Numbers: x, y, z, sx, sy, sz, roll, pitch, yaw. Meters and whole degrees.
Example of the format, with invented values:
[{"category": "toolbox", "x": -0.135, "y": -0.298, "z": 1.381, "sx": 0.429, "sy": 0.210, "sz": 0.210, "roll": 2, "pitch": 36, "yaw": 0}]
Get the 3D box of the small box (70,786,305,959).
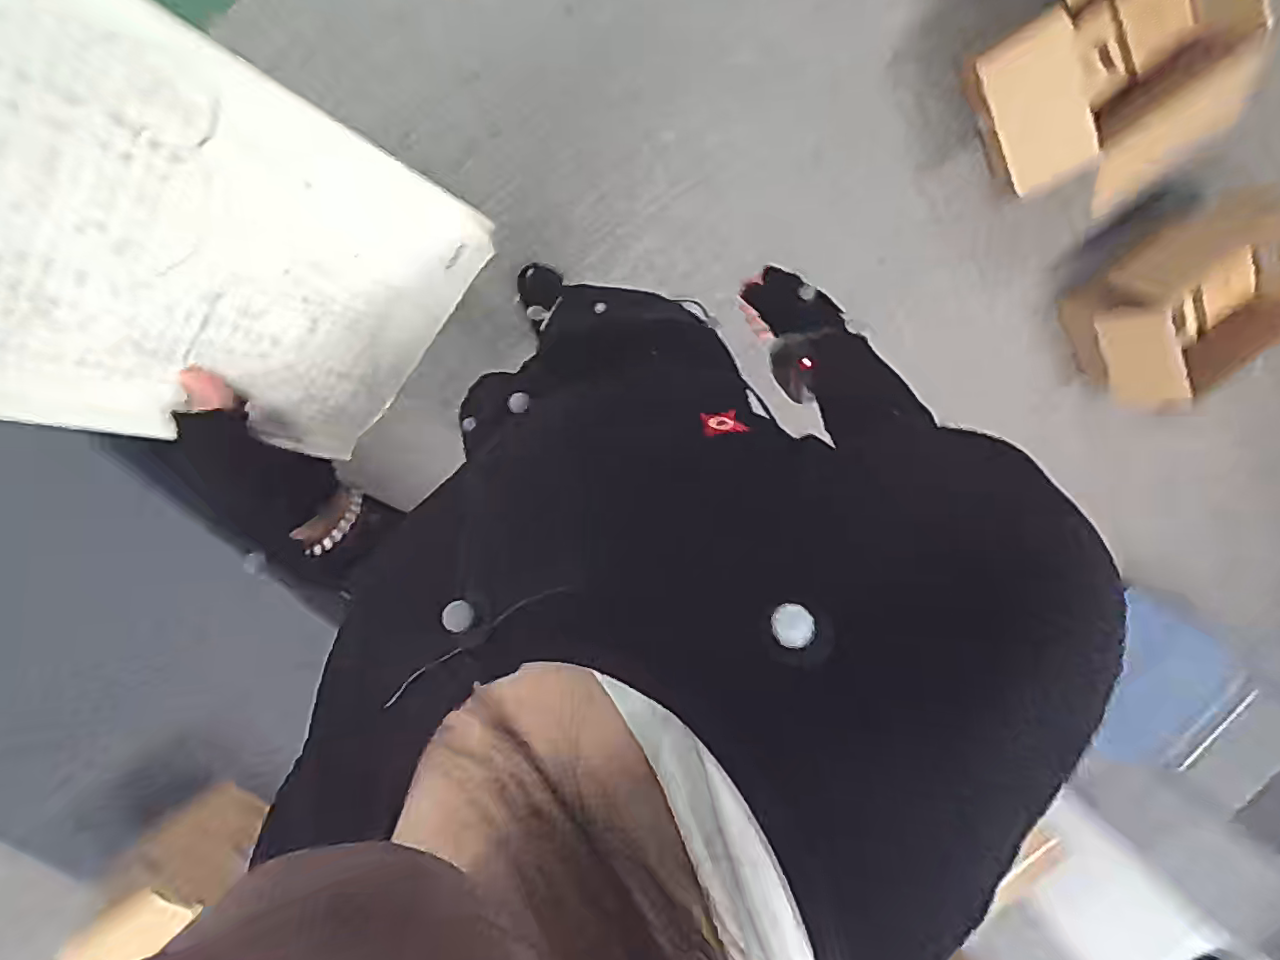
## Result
[{"category": "small box", "x": -0.627, "y": 0.592, "z": 0.784, "sx": 0.179, "sy": 0.176, "sz": 0.168, "roll": -37, "pitch": 111, "yaw": 3}]
